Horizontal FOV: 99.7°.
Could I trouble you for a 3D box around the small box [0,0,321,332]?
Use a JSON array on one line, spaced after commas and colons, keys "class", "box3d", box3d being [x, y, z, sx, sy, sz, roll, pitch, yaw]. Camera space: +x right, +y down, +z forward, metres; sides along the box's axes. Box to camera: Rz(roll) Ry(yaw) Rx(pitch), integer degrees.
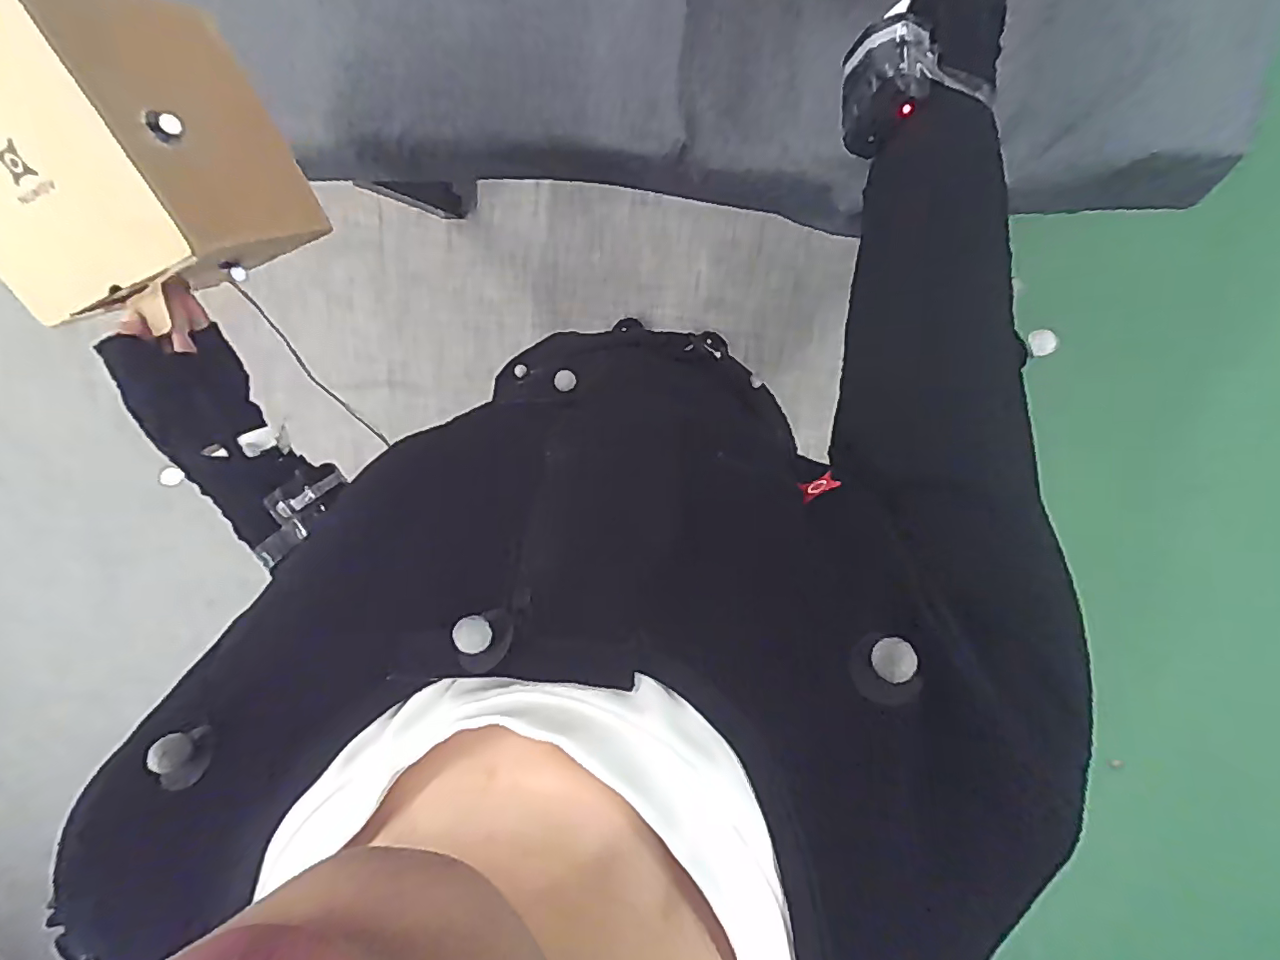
[{"class": "small box", "box3d": [-0.404, -0.244, 0.426, 0.168, 0.176, 0.179, -15, 117, 15]}]
